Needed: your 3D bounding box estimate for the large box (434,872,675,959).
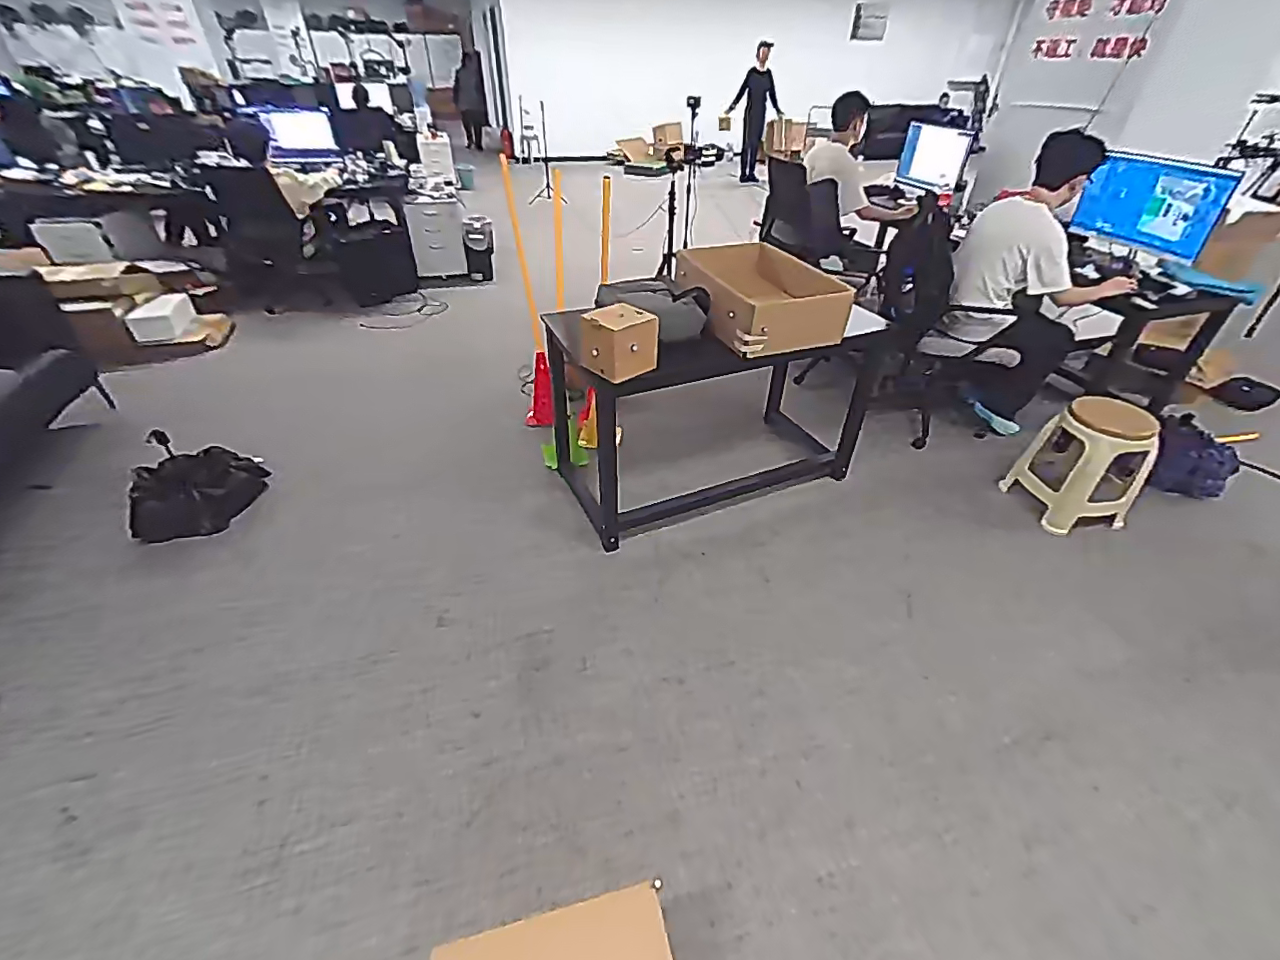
[{"bbox_3d":[-0.129,0.981,0.958,0.408,0.320,0.320,-9,40,-12],"label":"large box"}]
